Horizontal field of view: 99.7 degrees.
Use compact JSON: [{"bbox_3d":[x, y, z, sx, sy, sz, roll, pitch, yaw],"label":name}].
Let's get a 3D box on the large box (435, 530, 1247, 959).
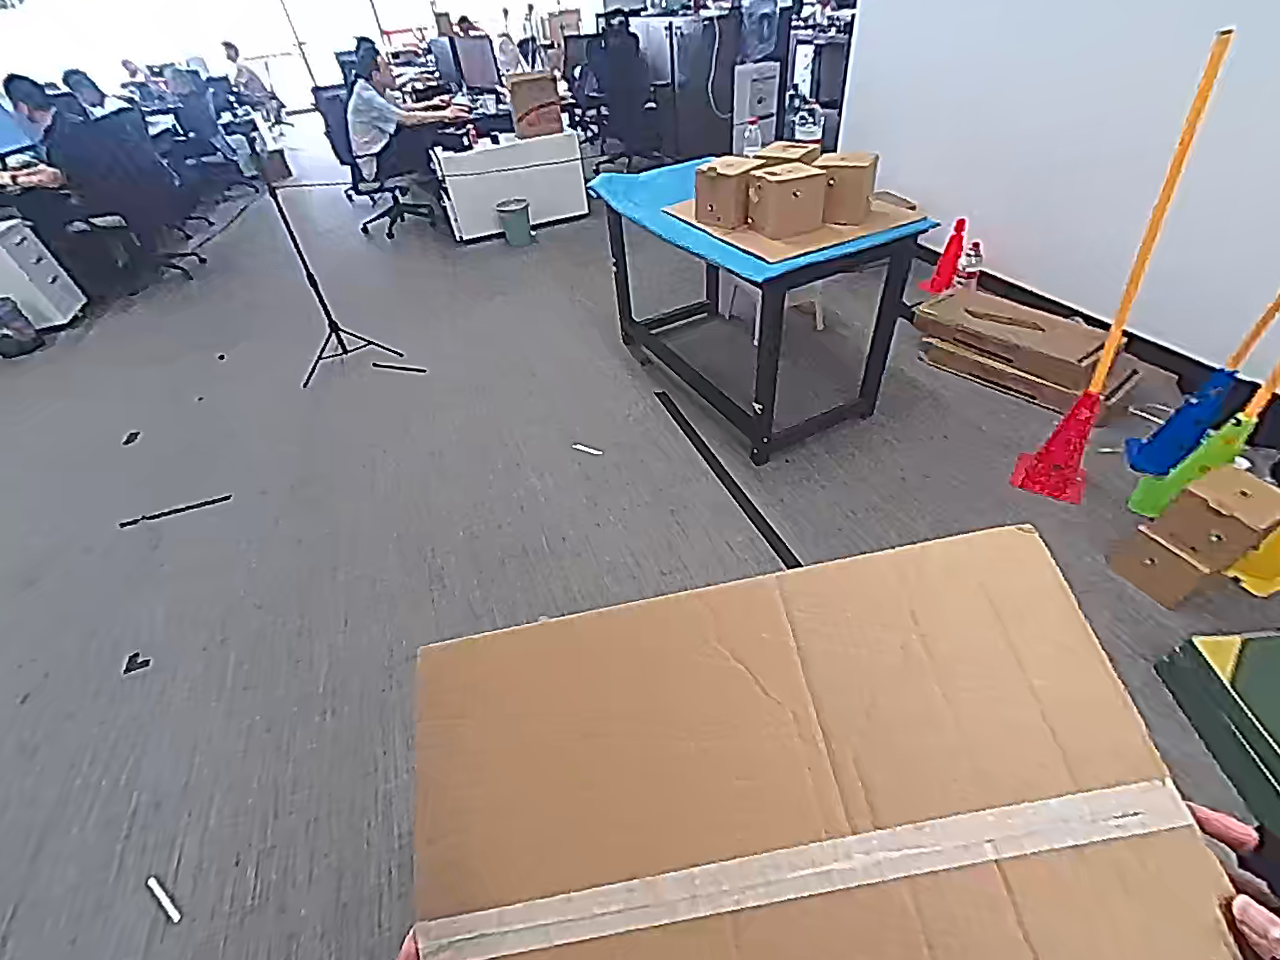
[{"bbox_3d":[0.099,0.273,0.426,0.408,0.320,0.320,-12,65,2],"label":"large box"}]
